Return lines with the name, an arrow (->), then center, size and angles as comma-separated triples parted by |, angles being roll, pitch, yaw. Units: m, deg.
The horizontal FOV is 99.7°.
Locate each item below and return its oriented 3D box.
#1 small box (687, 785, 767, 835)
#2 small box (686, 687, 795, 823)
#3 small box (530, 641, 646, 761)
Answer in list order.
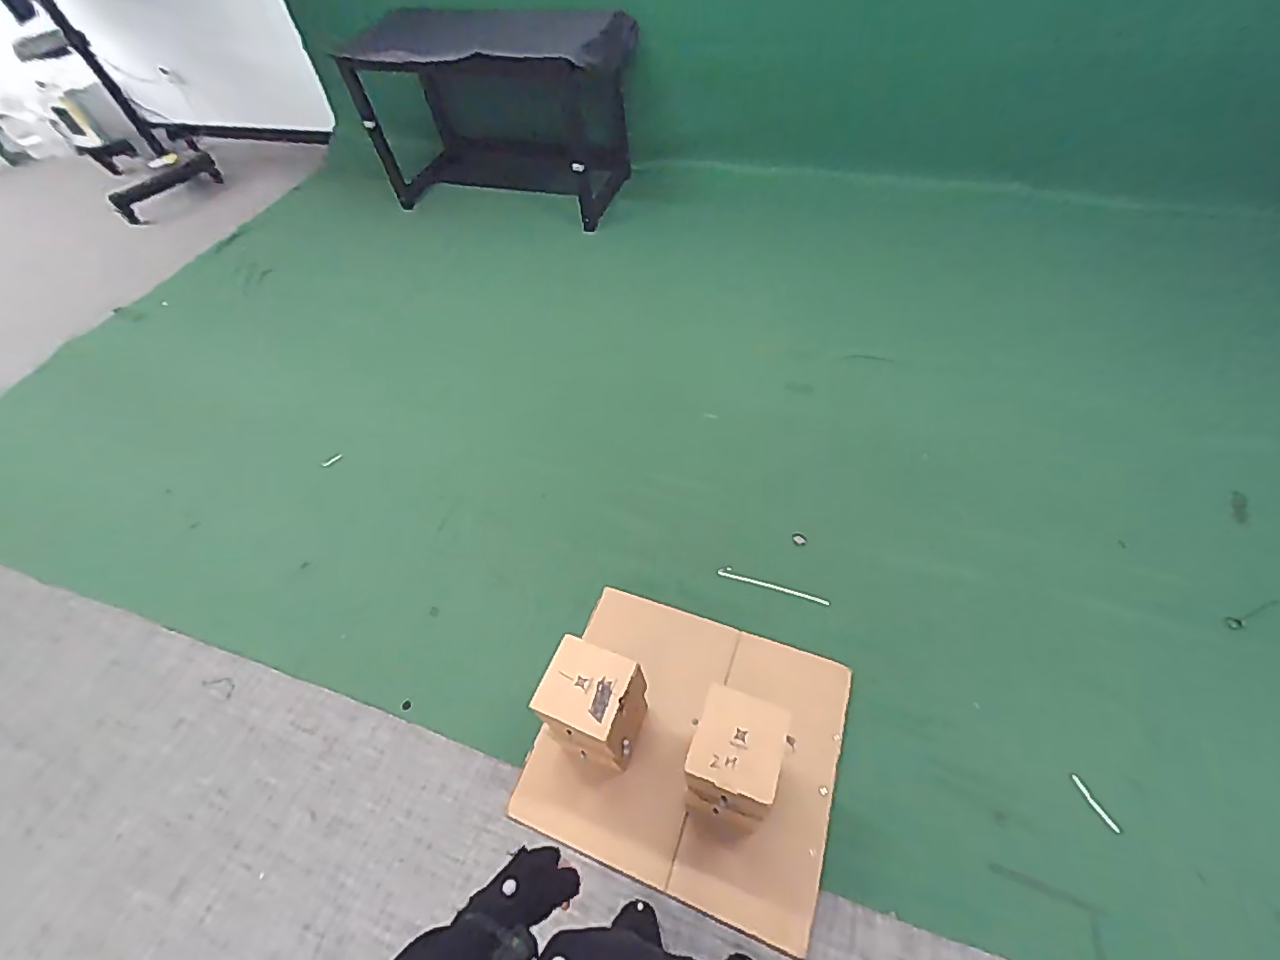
small box -> 0.205, 0.652, 1.190 | 0.168, 0.176, 0.179 | 13, 56, 16
small box -> 0.195, 0.543, 1.064 | 0.168, 0.176, 0.179 | 14, 56, 17
small box -> -0.099, 0.474, 1.147 | 0.179, 0.176, 0.168 | 15, 56, 20
